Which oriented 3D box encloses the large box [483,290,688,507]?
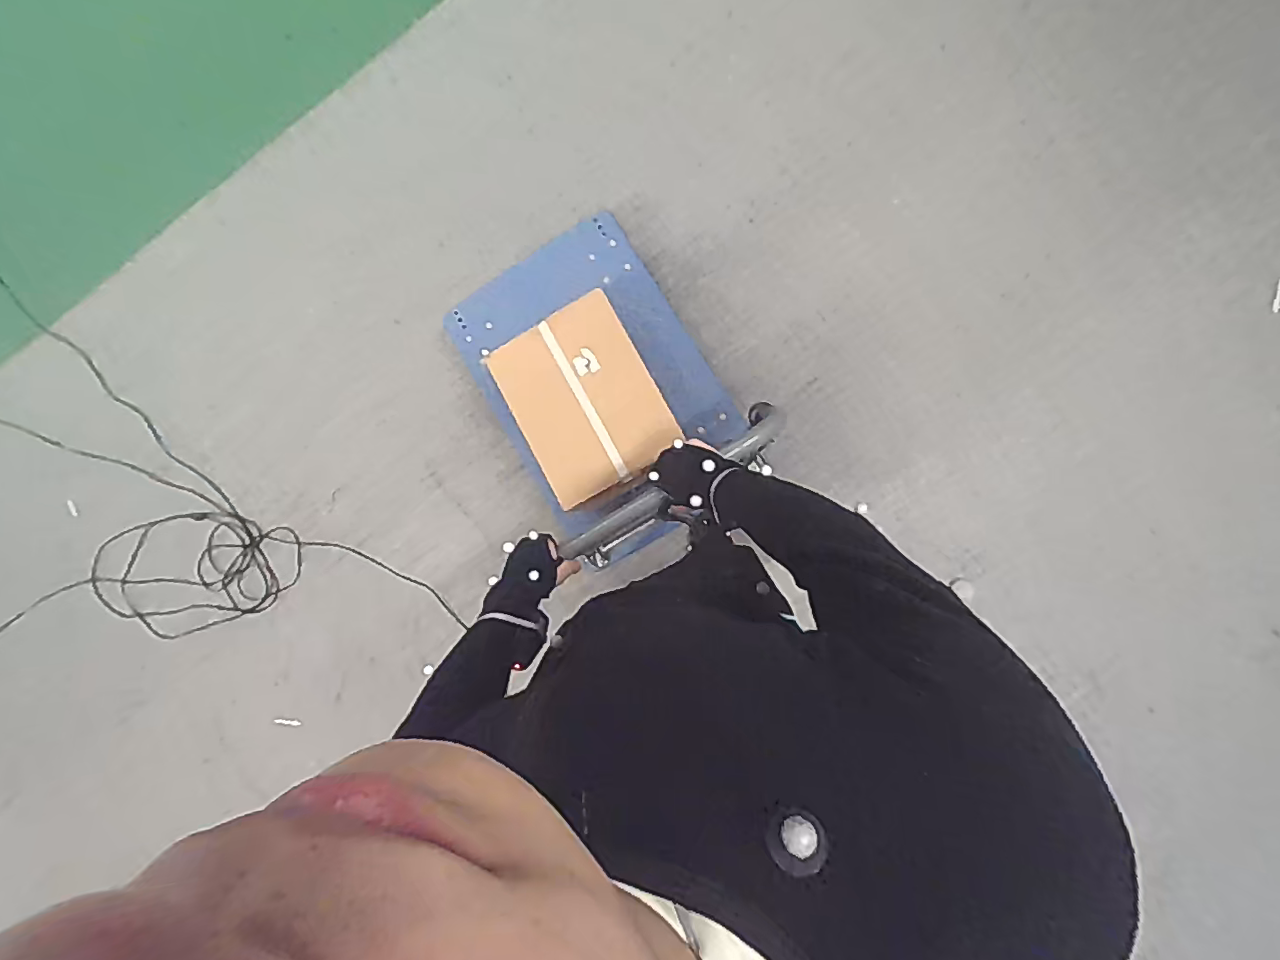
[{"bbox_3d":[-0.114,-0.177,1.349,0.320,0.320,0.408,-29,84,5],"label":"large box"}]
